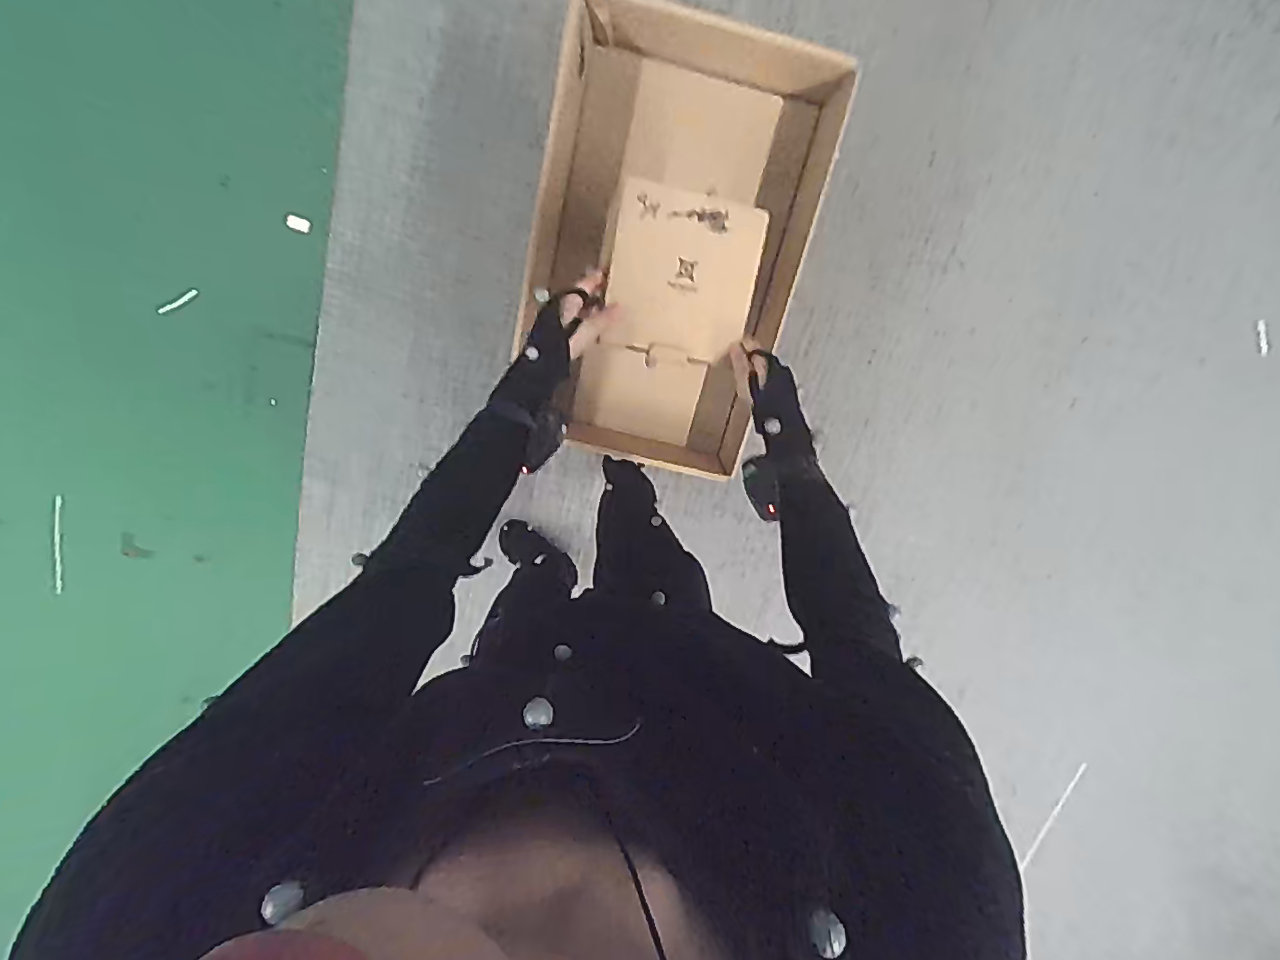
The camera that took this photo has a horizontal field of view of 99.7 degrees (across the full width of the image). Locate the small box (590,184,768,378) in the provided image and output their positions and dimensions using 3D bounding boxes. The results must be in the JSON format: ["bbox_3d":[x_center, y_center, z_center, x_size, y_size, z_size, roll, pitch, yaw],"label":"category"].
[{"bbox_3d":[0.034,-0.233,0.672,0.168,0.176,0.179,8,103,-12],"label":"small box"}]
